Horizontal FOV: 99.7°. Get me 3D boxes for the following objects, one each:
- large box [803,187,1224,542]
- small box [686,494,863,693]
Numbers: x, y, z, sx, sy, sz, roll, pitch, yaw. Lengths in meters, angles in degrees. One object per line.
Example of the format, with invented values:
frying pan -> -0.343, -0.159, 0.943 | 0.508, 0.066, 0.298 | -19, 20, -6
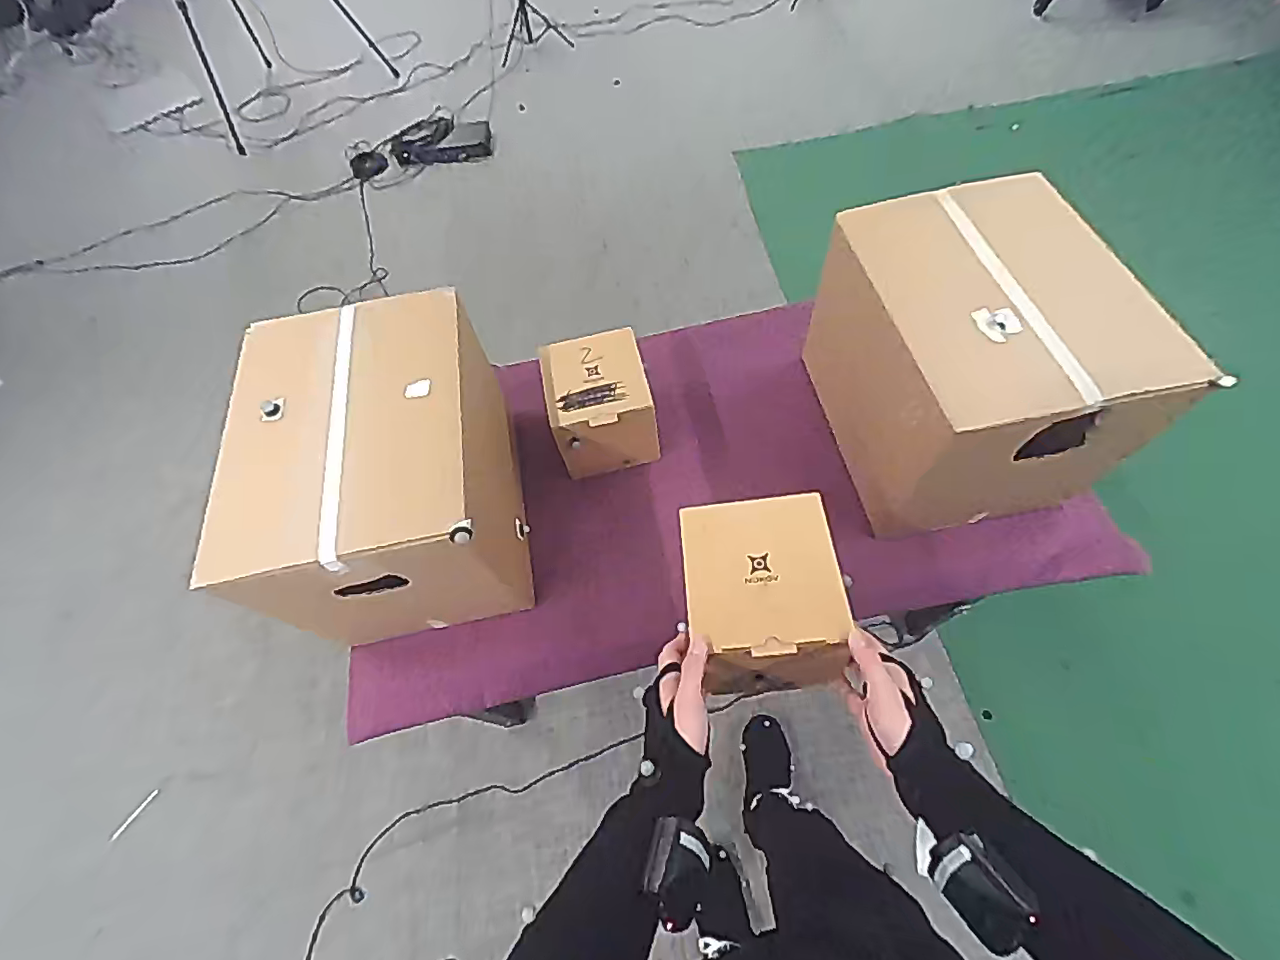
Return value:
large box -> 0.486, -0.167, 0.831 | 0.320, 0.320, 0.408 | -12, 61, 0
small box -> 0.148, 0.141, 0.649 | 0.168, 0.176, 0.179 | -7, 55, 6
